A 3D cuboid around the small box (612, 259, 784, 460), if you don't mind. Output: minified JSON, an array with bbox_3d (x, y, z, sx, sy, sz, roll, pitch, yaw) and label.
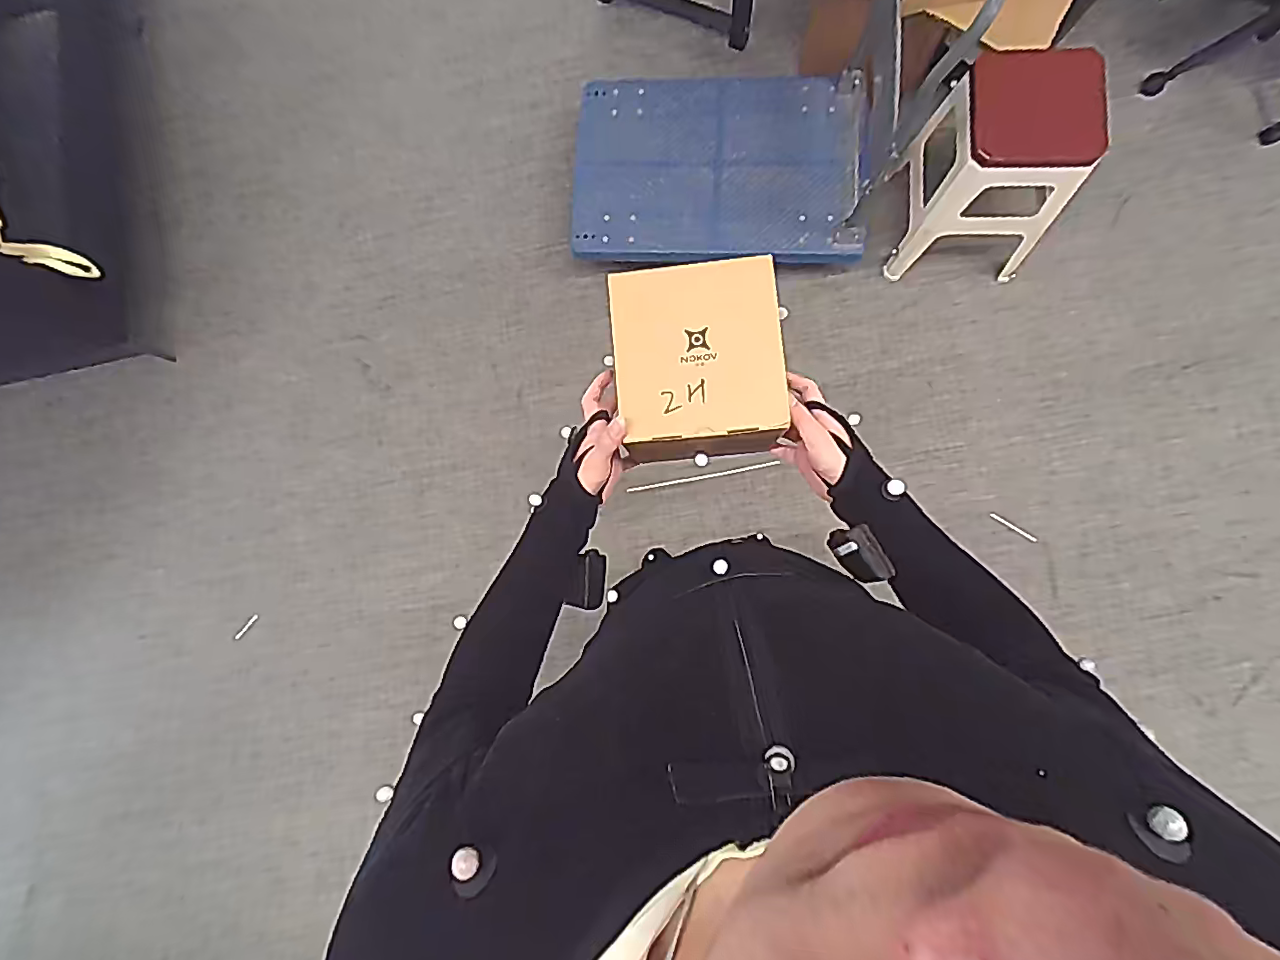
[{"bbox_3d":[0.061,-0.124,0.618,0.168,0.176,0.179,-4,85,5],"label":"small box"}]
